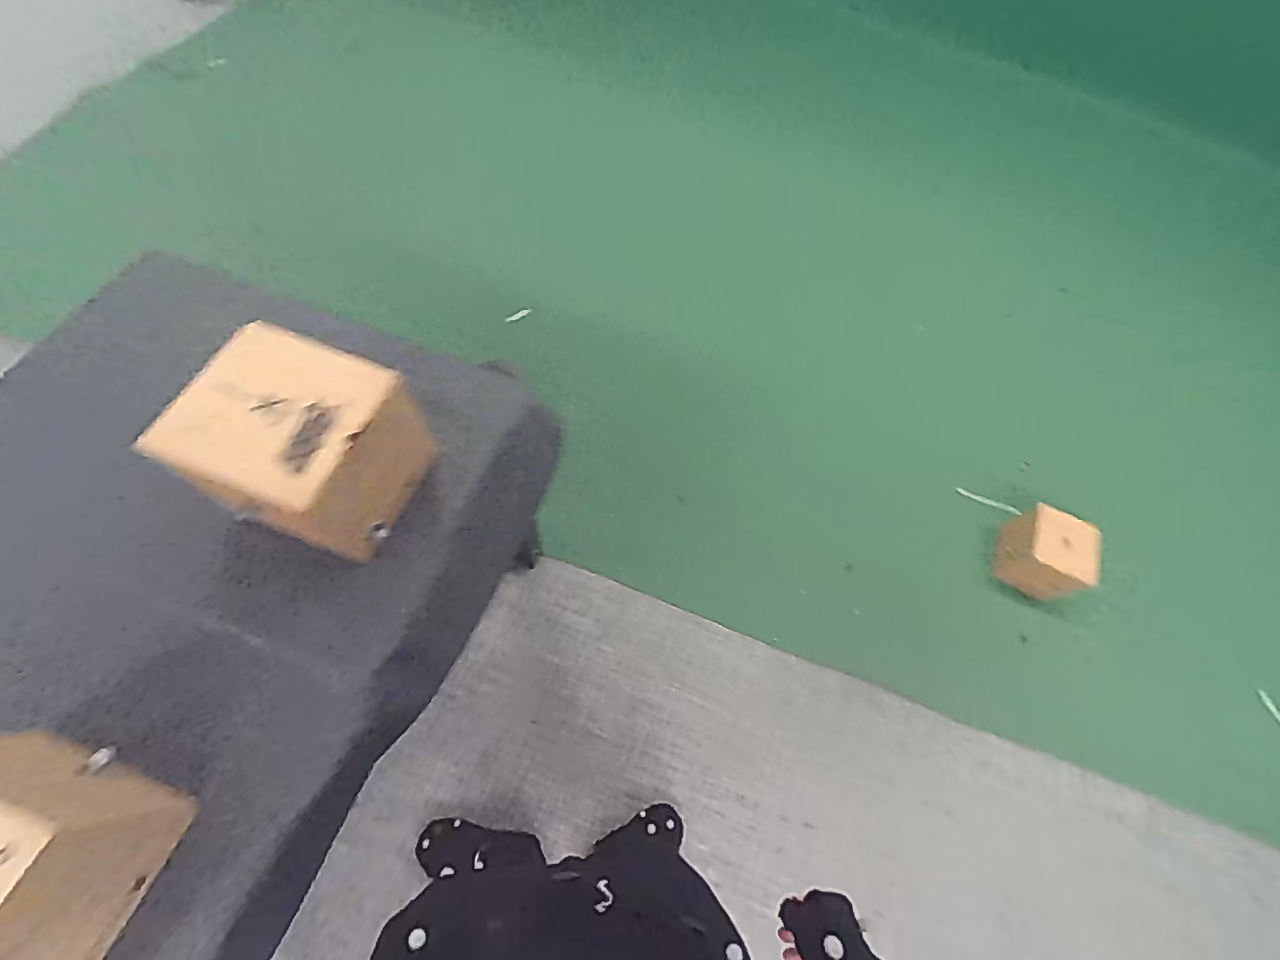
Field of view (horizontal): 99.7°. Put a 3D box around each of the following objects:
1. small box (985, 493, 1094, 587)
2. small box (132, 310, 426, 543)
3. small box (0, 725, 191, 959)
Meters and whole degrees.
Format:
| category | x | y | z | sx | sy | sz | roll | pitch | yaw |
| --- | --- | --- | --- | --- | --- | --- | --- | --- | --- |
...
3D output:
| category | x | y | z | sx | sy | sz | roll | pitch | yaw |
| --- | --- | --- | --- | --- | --- | --- | --- | --- | --- |
| small box | 1.086 | 0.171 | 1.480 | 0.168 | 0.176 | 0.179 | 28 | 65 | 3 |
| small box | -0.367 | -0.046 | 0.596 | 0.179 | 0.176 | 0.168 | 21 | 65 | 4 |
| small box | -0.524 | 0.302 | 0.419 | 0.179 | 0.176 | 0.168 | 21 | 65 | 3 |
